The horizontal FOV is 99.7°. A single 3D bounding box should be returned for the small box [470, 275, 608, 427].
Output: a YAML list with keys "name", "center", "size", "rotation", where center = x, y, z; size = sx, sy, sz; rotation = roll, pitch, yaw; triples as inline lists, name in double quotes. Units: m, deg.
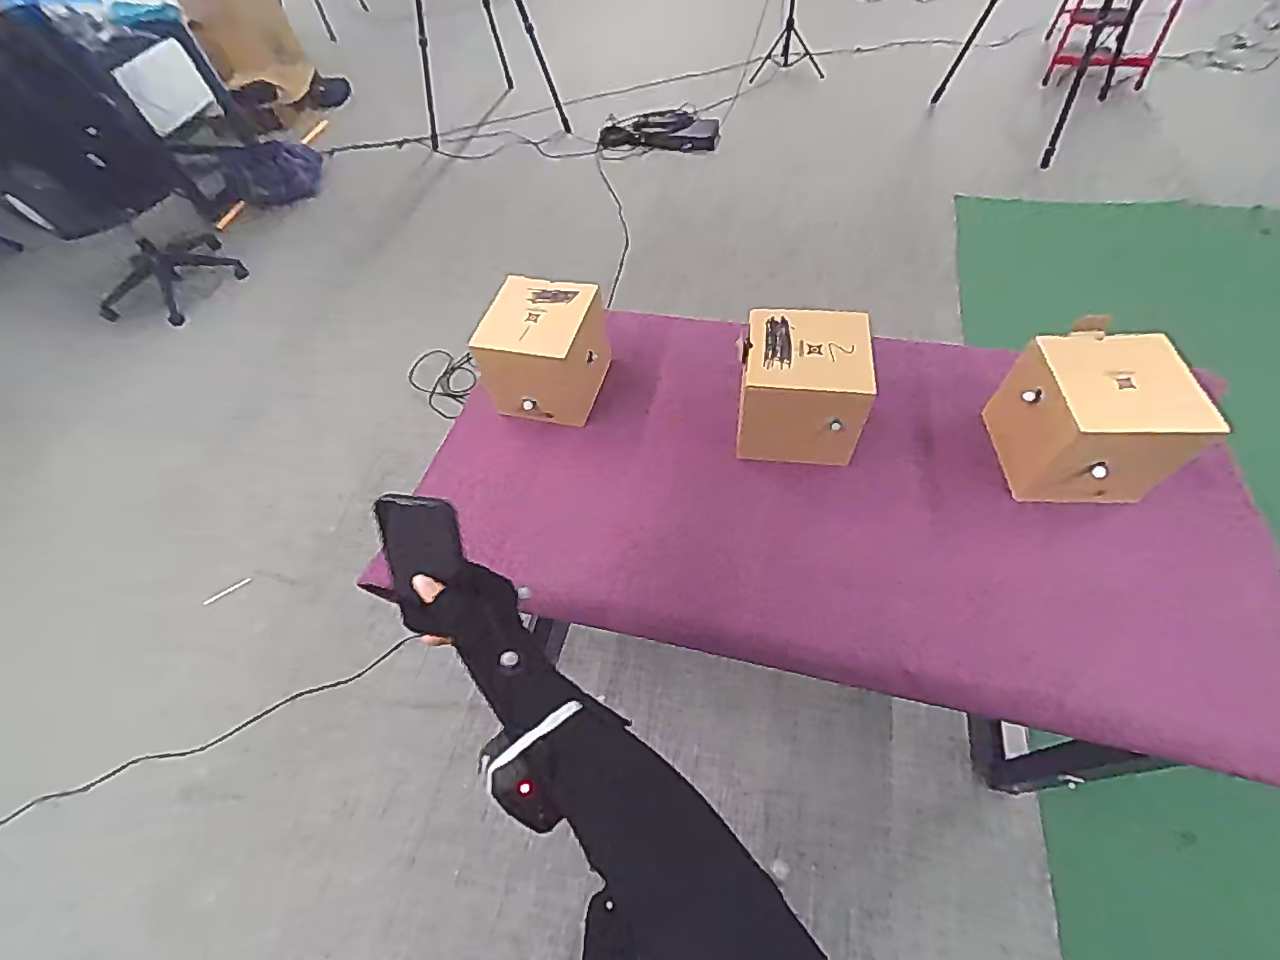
- name: "small box"
  center: [-0.159, -0.220, 0.928]
  size: [0.168, 0.176, 0.179]
  rotation: [11, 59, 12]

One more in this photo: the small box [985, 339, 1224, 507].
- name: "small box"
  center: [0.625, -0.075, 0.759]
  size: [0.168, 0.176, 0.179]
  rotation: [1, 55, 7]
